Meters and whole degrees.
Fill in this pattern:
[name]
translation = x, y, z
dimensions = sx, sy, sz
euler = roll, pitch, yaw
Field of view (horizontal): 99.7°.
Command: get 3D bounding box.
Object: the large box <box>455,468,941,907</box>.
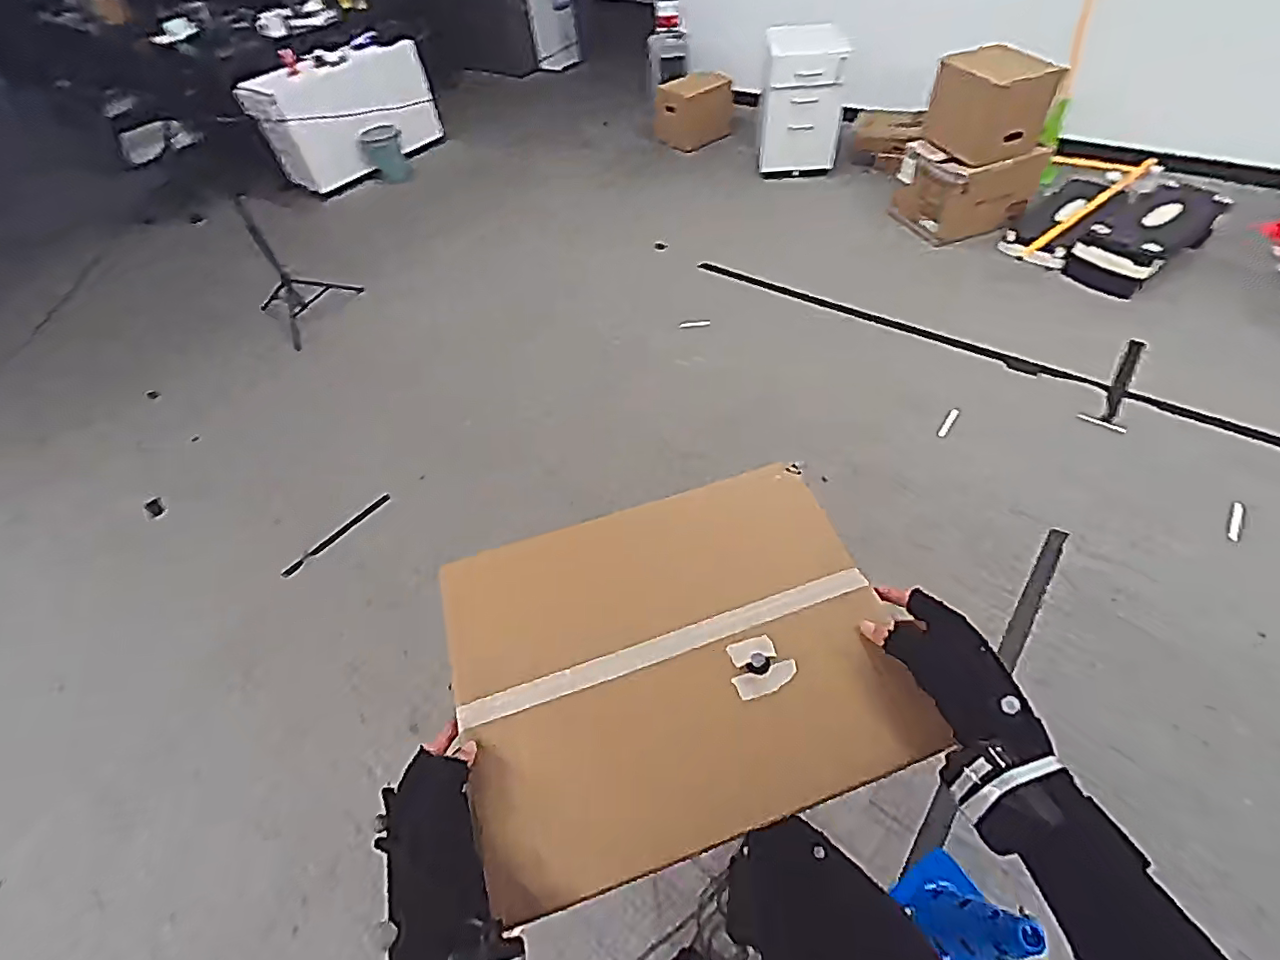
[large box]
translation = 0.039, 0.244, 0.649
dimensions = 0.408, 0.320, 0.320
euler = -16, 56, -8

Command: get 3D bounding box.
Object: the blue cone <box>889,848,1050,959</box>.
[blue cone]
translation = 0.618, 0.790, 0.971
dimensions = 0.192, 0.380, 0.193
euler = -27, 54, -15
